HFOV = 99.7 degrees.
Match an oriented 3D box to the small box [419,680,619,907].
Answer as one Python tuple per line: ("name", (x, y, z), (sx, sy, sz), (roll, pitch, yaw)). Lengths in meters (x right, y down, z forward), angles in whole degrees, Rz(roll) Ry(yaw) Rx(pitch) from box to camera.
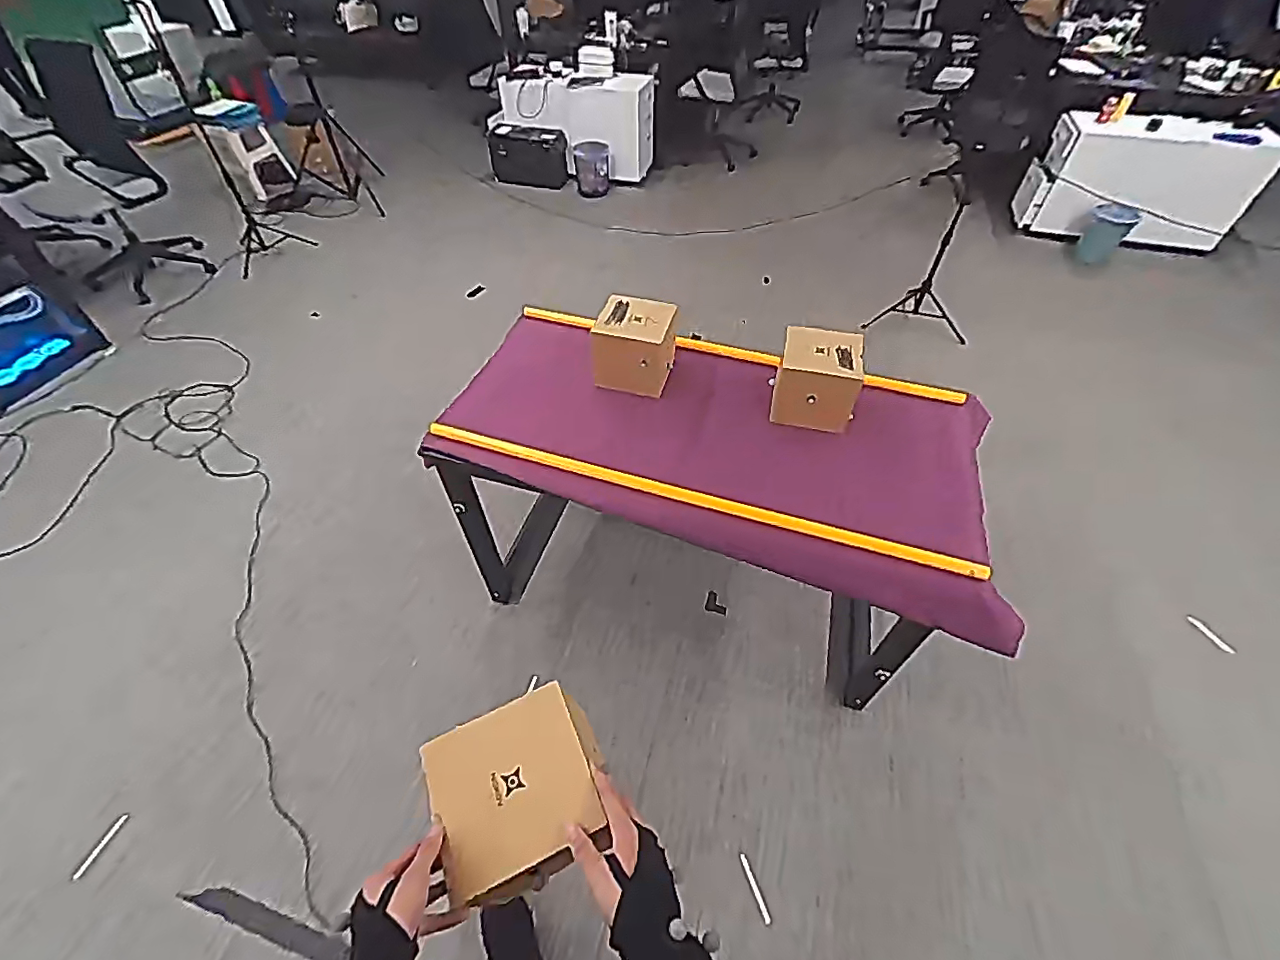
("small box", (-0.134, 0.372, 0.651), (0.179, 0.176, 0.168), (-24, 55, -8))

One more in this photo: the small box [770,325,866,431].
("small box", (0.413, -0.235, 1.264), (0.179, 0.176, 0.168), (10, 51, 11))
